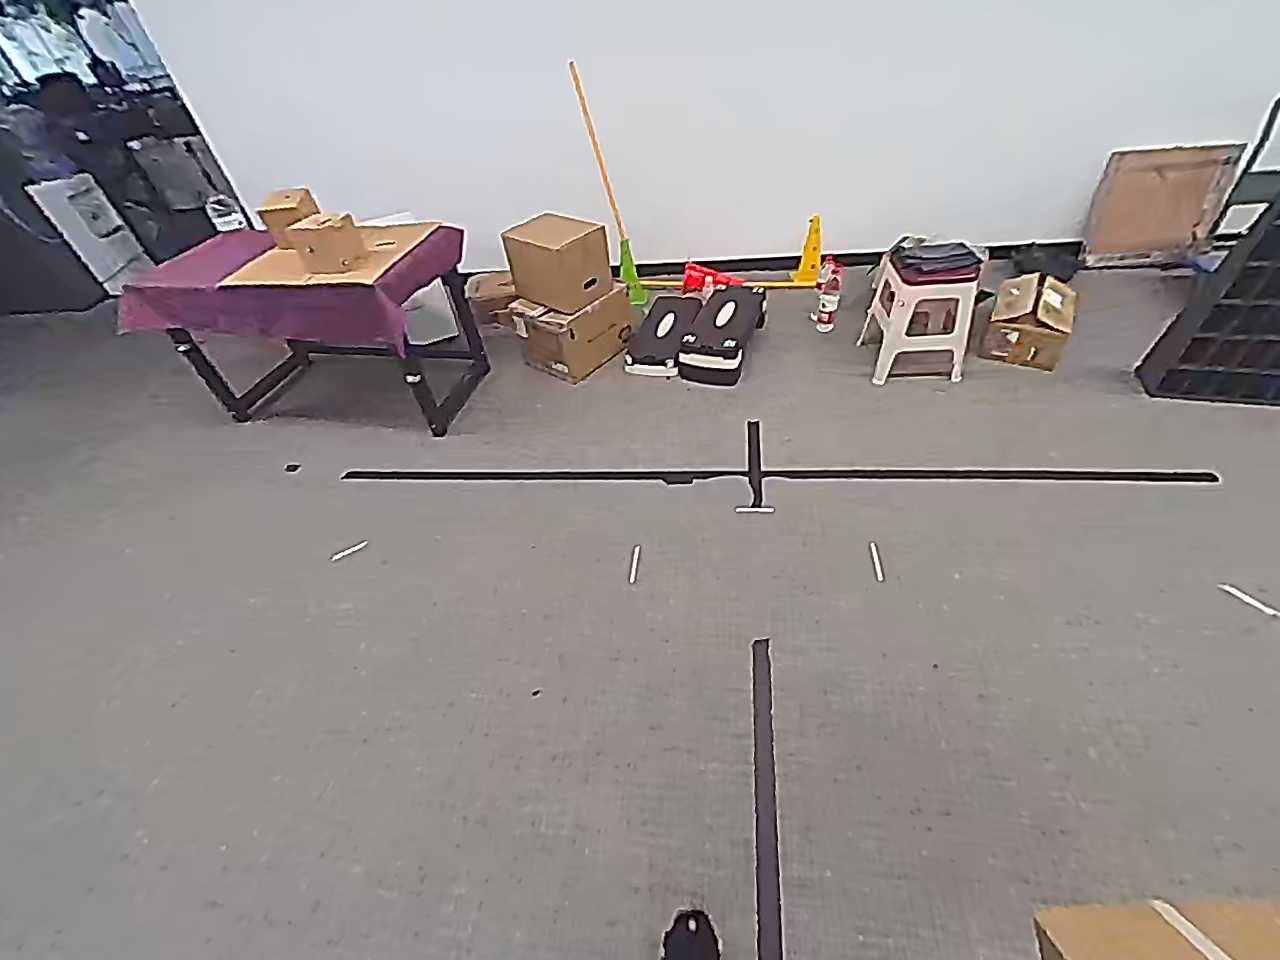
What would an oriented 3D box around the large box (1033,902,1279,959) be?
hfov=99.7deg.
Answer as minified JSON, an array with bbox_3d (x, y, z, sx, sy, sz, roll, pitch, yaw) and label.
[{"bbox_3d":[0.674,0.705,0.515,0.320,0.408,0.320,-9,86,9],"label":"large box"}]
